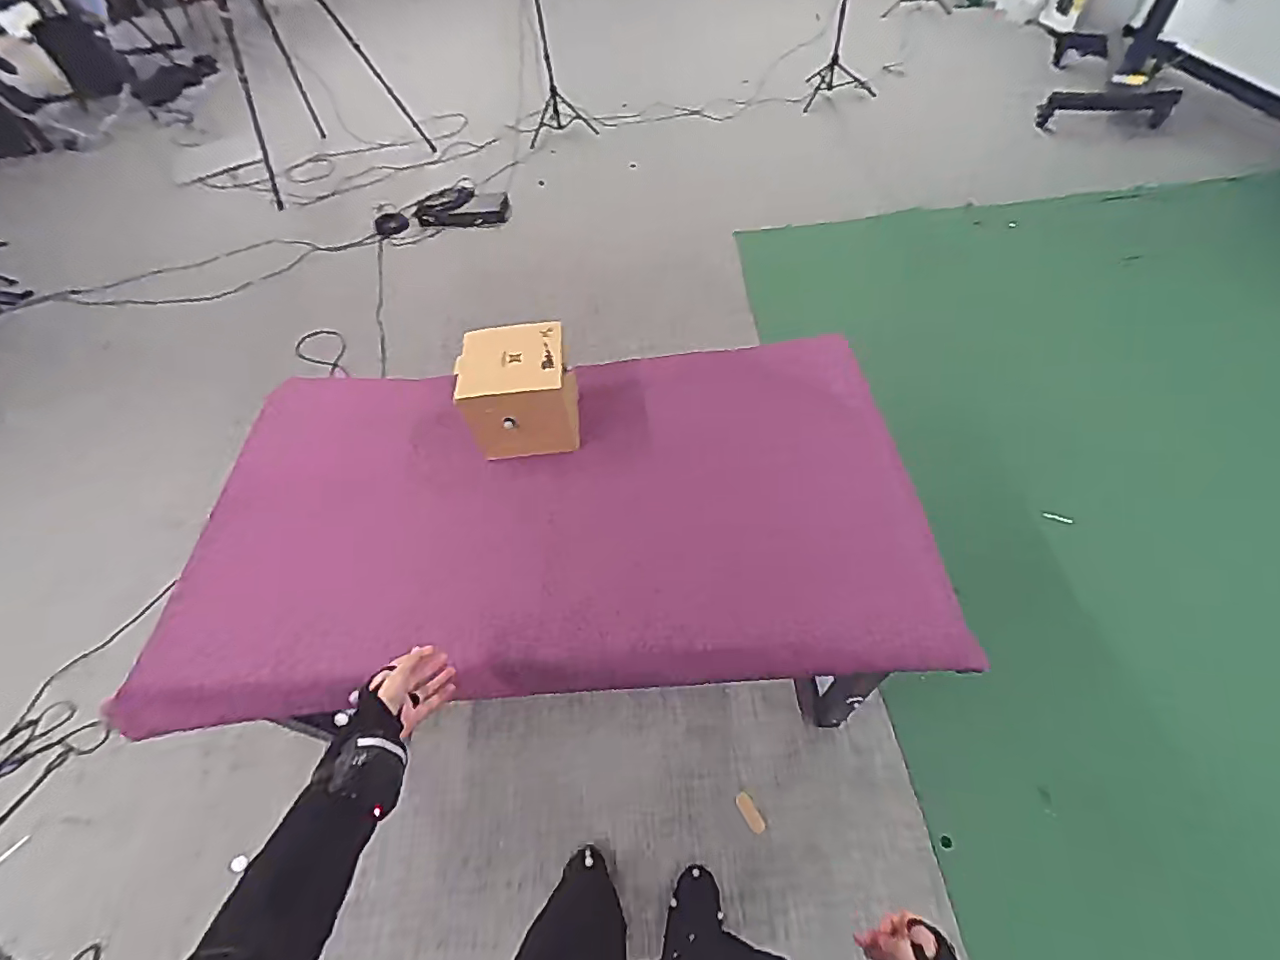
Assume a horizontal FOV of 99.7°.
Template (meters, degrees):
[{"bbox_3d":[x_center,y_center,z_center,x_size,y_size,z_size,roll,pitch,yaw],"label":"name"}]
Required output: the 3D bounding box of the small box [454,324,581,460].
[{"bbox_3d":[-0.208,-0.151,0.966,0.179,0.176,0.168,-6,56,2],"label":"small box"}]
